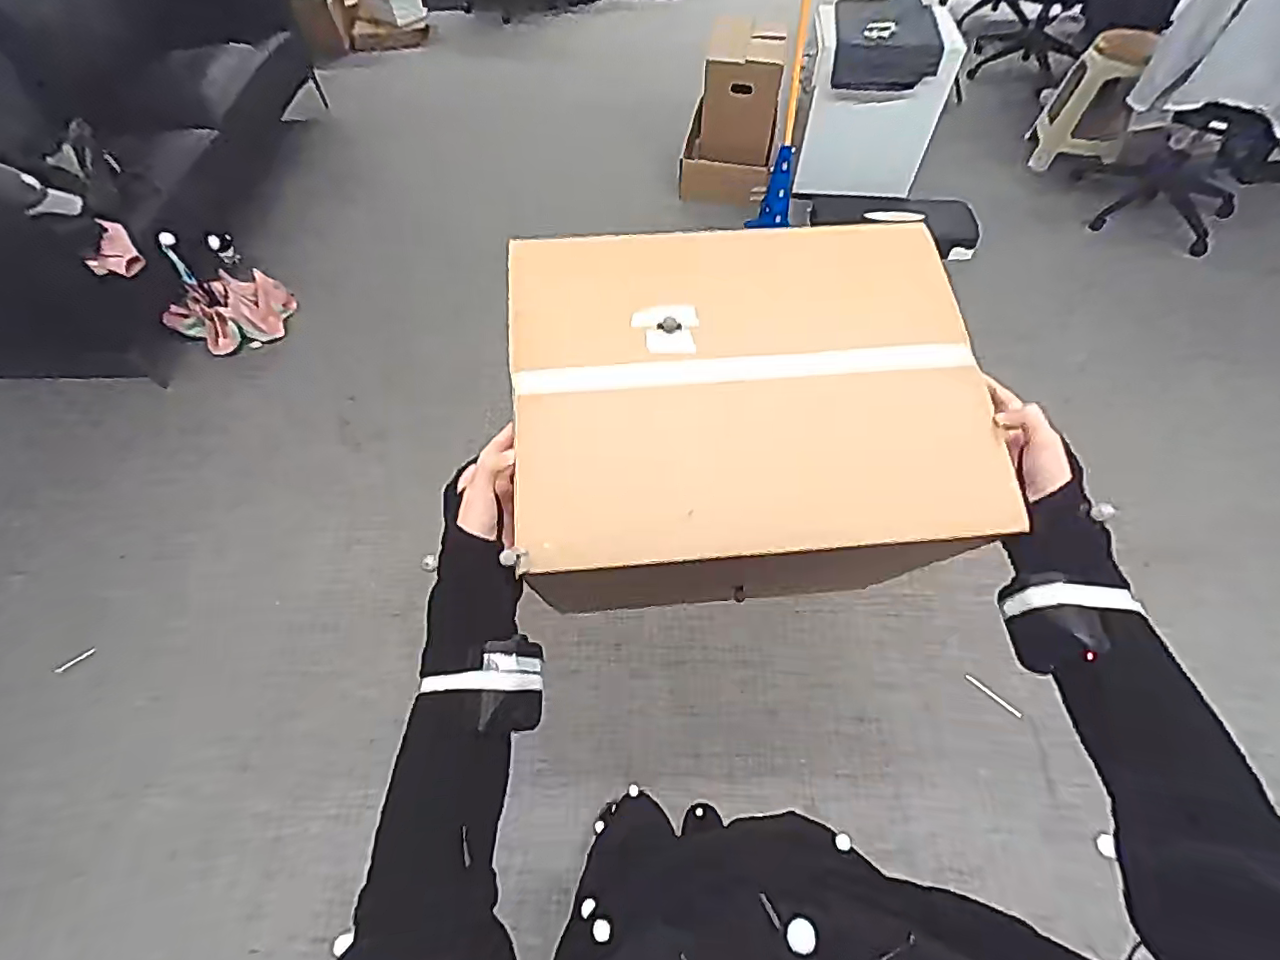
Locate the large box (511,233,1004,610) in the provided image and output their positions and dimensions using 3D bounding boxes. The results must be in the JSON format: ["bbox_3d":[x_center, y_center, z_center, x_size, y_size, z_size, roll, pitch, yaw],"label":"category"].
[{"bbox_3d":[0.088,-0.036,0.621,0.408,0.320,0.320,-5,71,-3],"label":"large box"}]
